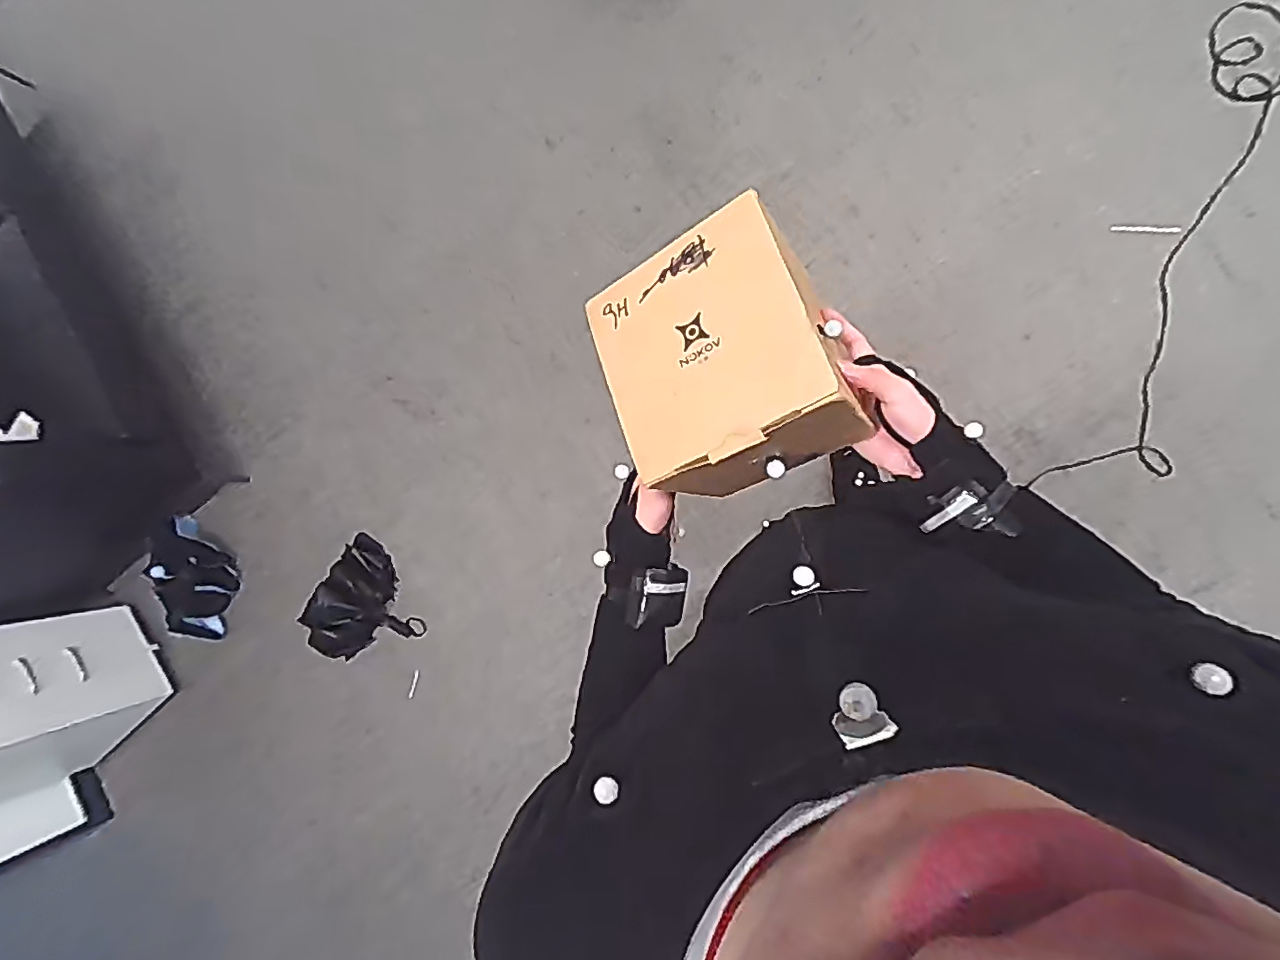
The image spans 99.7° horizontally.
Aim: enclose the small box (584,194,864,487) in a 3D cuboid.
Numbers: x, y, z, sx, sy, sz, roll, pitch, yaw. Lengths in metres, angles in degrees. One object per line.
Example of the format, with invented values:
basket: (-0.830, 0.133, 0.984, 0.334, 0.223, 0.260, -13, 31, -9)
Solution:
small box: (0.083, -0.102, 0.487, 0.168, 0.176, 0.179, -26, 75, 26)
